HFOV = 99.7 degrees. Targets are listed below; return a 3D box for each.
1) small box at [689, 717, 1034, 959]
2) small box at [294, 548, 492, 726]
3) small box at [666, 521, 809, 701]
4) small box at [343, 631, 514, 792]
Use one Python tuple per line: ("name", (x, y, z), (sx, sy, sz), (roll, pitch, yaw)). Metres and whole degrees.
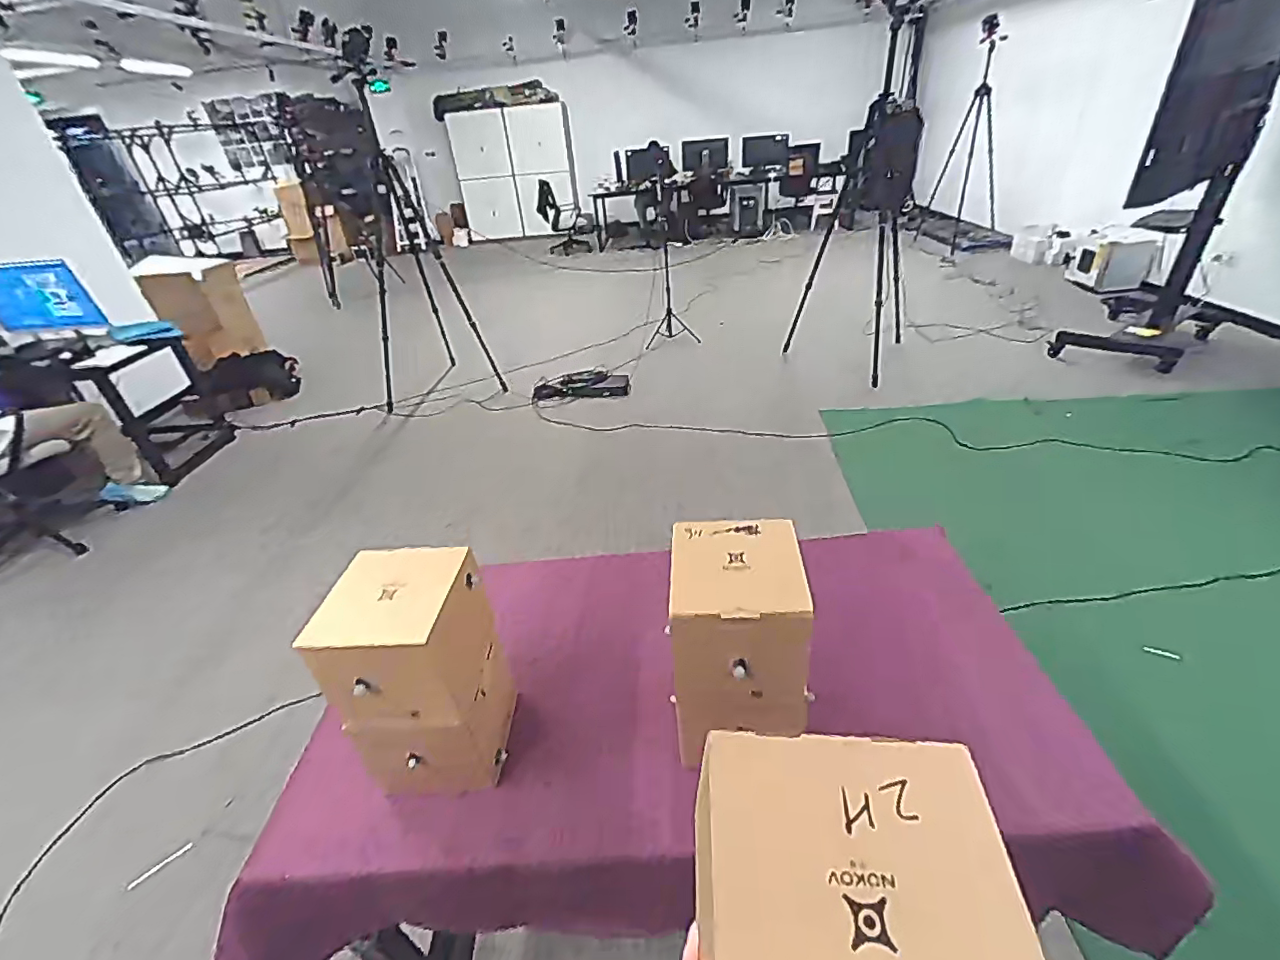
("small box", (0.119, 0.278, 0.347), (0.168, 0.176, 0.179), (2, 44, 4))
("small box", (-0.316, 0.215, 0.740), (0.168, 0.176, 0.179), (-3, 32, 4))
("small box", (0.127, 0.175, 0.726), (0.168, 0.176, 0.179), (-2, 34, 7))
("small box", (-0.304, 0.352, 0.827), (0.179, 0.176, 0.168), (-4, 33, 3))
